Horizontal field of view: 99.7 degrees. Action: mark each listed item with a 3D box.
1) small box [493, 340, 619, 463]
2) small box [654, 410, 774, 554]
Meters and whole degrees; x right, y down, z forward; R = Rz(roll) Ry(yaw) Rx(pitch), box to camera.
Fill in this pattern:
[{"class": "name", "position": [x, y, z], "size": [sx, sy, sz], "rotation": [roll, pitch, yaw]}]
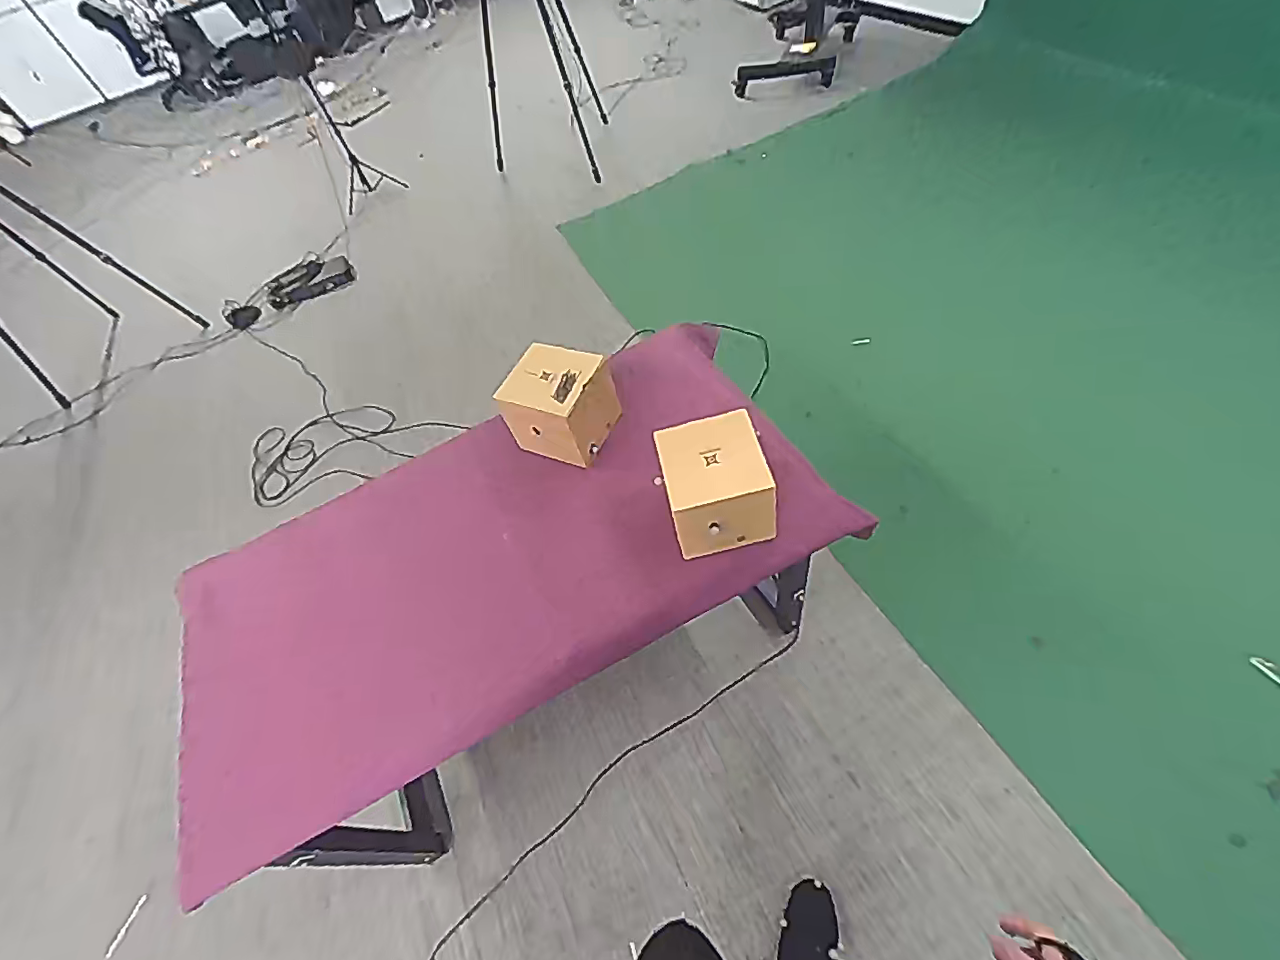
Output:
[{"class": "small box", "position": [-0.162, -0.158, 1.117], "size": [0.179, 0.176, 0.168], "rotation": [17, 61, 22]}, {"class": "small box", "position": [0.131, 0.012, 0.936], "size": [0.168, 0.176, 0.179], "rotation": [-14, 52, 4]}]
